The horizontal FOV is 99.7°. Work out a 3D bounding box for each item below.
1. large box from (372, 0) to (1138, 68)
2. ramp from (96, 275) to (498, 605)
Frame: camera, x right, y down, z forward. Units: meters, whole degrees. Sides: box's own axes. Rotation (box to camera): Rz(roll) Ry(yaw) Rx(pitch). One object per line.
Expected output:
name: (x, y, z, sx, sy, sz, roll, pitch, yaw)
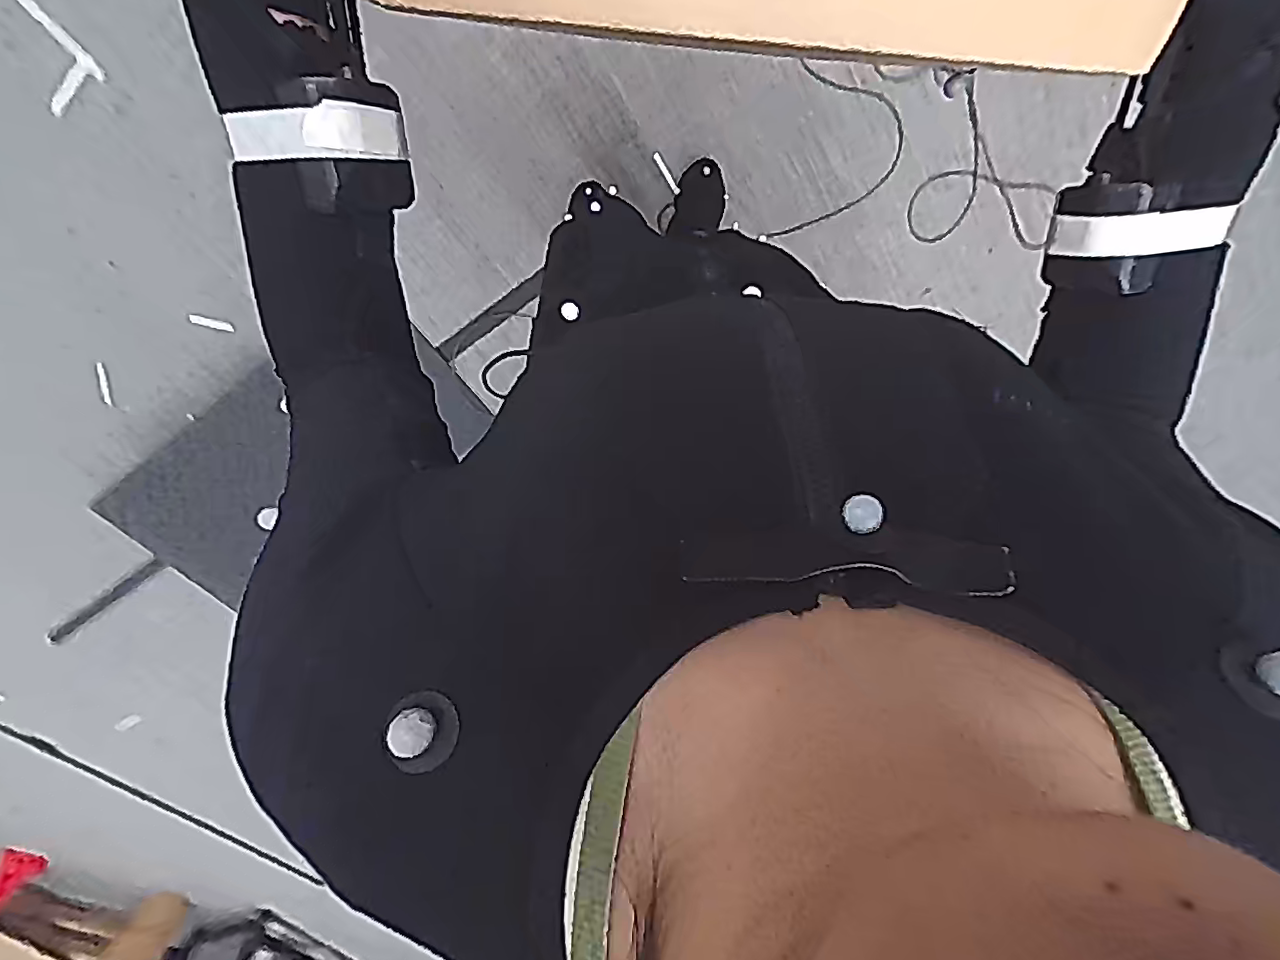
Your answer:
large box: (0.065, -0.444, 0.306, 0.408, 0.320, 0.320, 1, 128, -3)
ramp: (-0.940, -0.068, 1.506, 0.991, 0.206, 0.509, -32, 115, 17)
